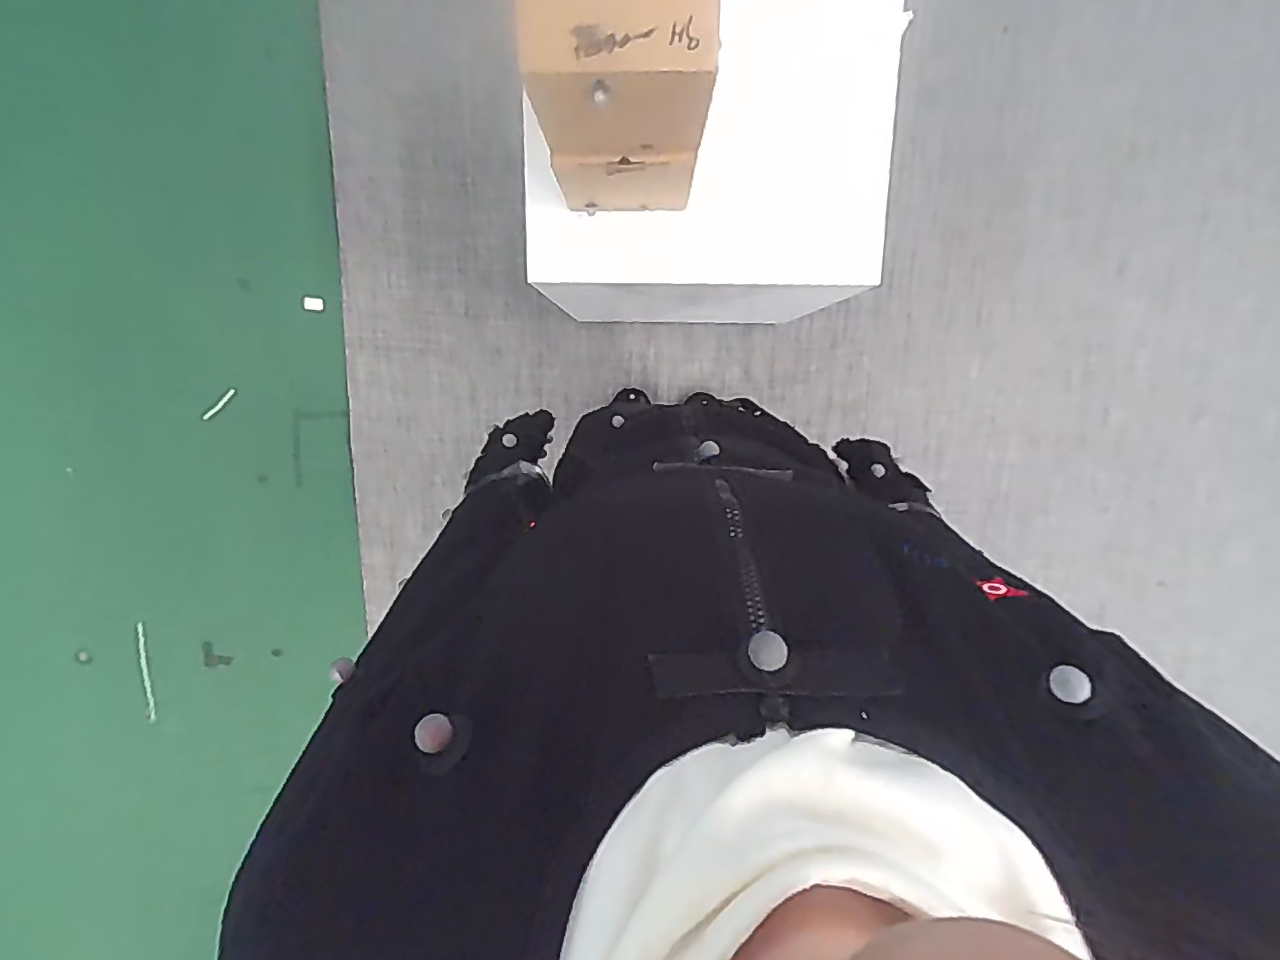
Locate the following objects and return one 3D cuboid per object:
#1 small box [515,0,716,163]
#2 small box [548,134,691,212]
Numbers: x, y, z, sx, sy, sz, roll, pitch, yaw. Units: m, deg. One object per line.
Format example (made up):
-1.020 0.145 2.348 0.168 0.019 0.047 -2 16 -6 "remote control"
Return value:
-0.019 -0.430 0.512 0.168 0.176 0.179 0 99 1 "small box"
-0.020 -0.448 0.674 0.168 0.176 0.179 0 99 1 "small box"
